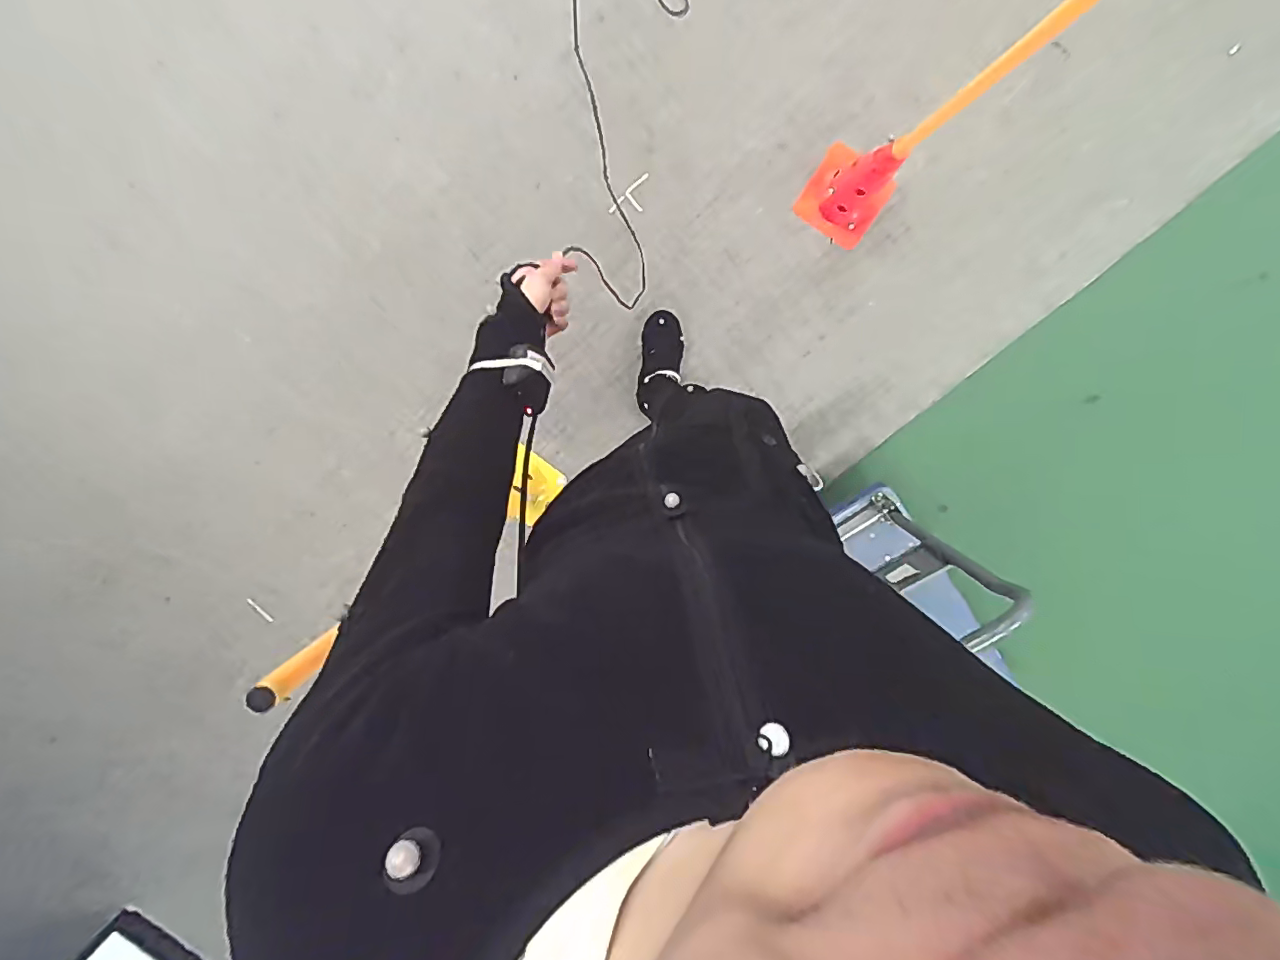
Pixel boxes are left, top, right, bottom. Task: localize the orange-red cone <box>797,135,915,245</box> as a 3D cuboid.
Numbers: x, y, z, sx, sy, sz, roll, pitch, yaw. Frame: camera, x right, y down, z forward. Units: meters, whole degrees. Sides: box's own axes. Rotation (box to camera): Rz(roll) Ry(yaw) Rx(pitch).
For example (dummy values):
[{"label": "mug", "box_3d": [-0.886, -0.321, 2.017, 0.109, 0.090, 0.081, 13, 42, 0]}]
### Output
[{"label": "orange-red cone", "box_3d": [0.530, -0.705, 1.237, 0.198, 0.360, 0.199, 33, 101, -6]}]
